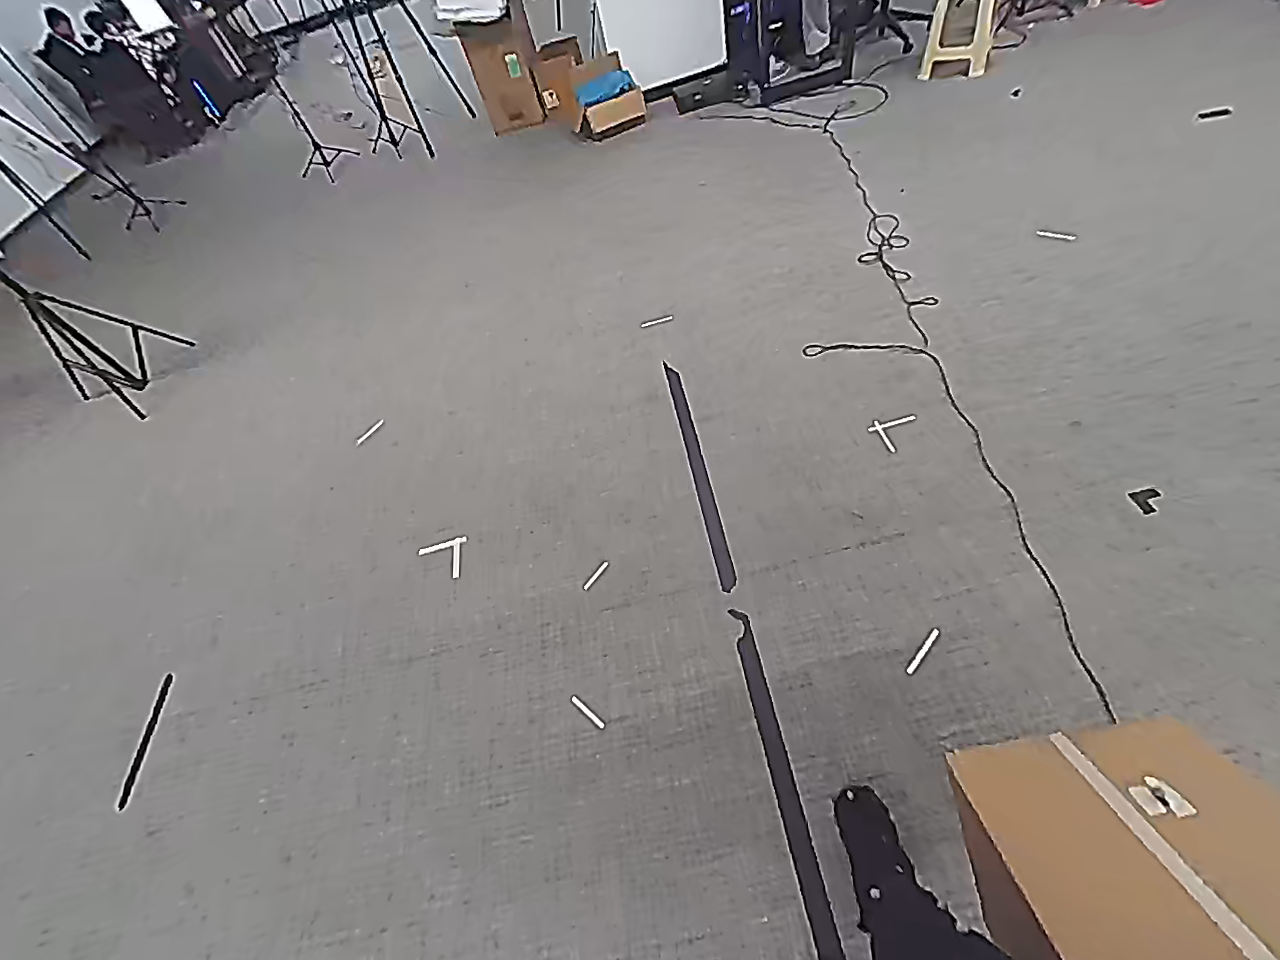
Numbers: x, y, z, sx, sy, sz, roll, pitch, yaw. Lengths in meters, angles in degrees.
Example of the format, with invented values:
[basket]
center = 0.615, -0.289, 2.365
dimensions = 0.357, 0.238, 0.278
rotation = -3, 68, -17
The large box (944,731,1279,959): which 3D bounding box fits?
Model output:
[large box]
center = 0.629, 0.575, 0.632
dimensions = 0.320, 0.320, 0.408
rotation = -14, 7, 10
